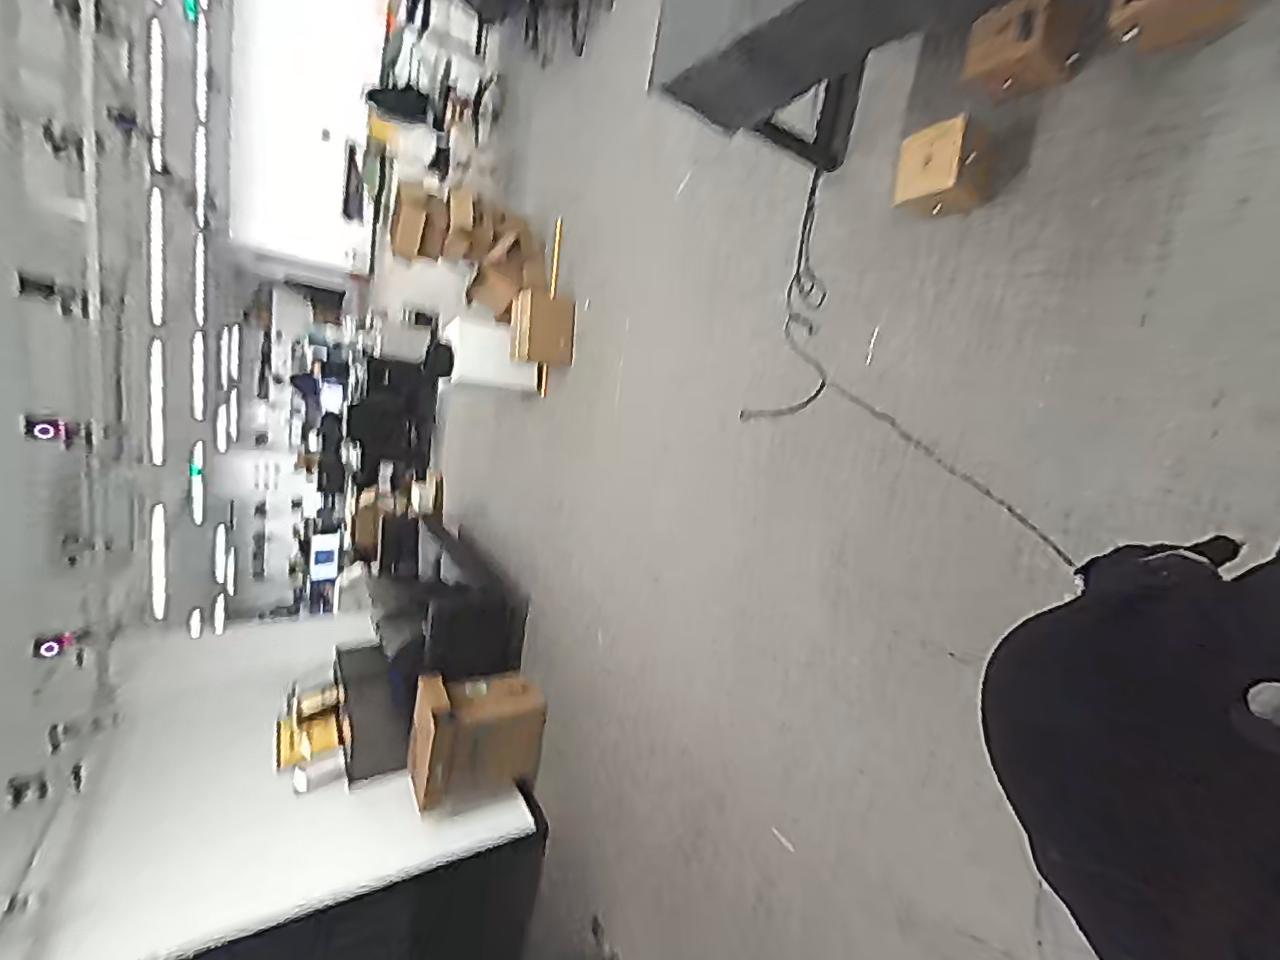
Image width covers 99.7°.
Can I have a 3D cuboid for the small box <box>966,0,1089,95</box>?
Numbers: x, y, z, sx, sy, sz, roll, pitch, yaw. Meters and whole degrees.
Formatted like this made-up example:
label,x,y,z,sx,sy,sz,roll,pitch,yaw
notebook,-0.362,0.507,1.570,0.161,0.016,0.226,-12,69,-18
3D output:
label,x,y,z,sx,sy,sz,roll,pitch,yaw
small box,0.935,-1.076,1.303,0.179,0.176,0.168,23,108,56
